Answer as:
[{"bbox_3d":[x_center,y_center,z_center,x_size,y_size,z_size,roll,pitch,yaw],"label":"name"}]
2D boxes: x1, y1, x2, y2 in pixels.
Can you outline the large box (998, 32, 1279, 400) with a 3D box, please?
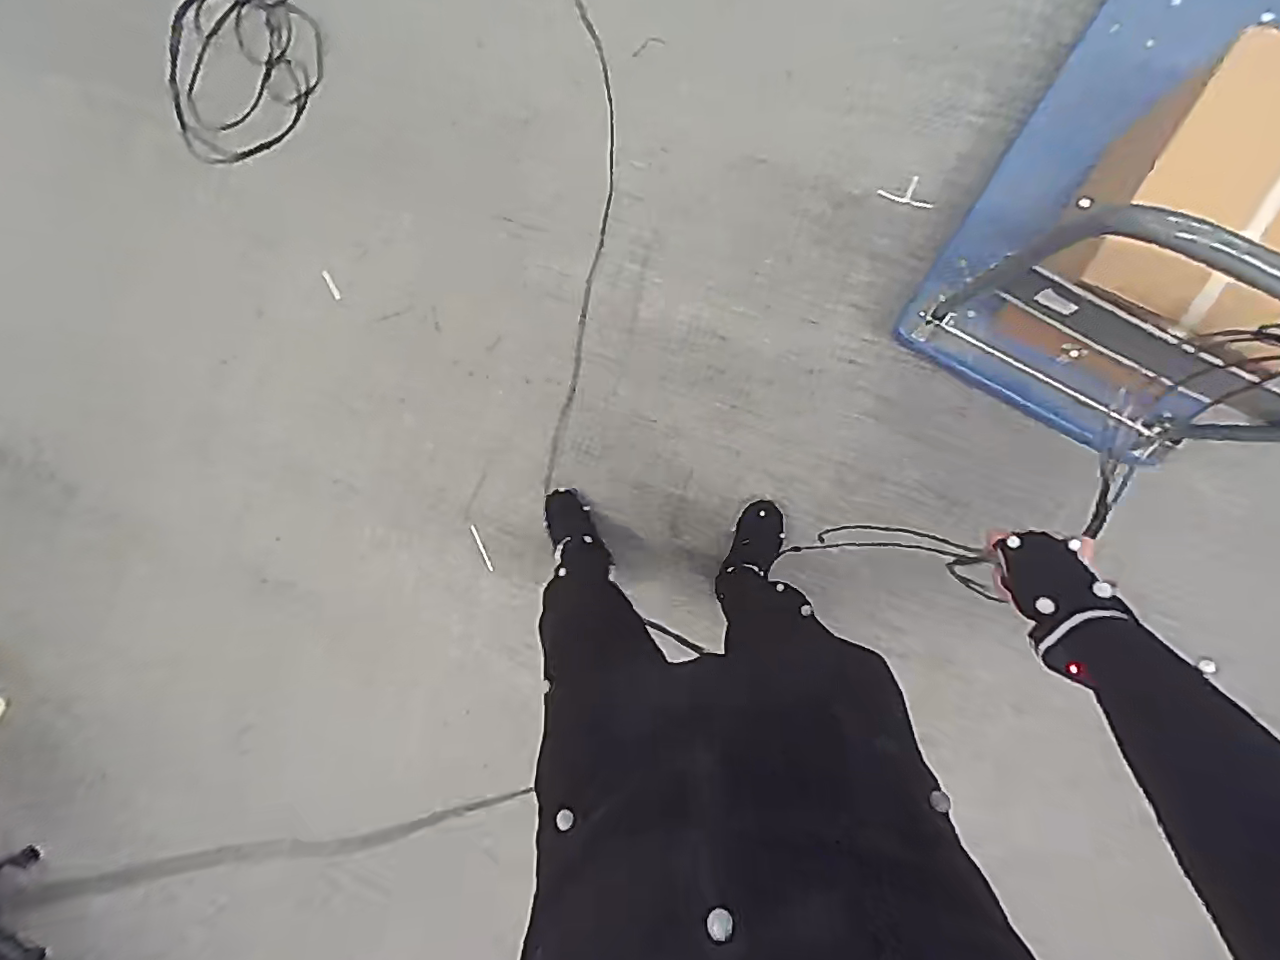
[{"bbox_3d":[0.918,-0.393,0.911,0.320,0.320,0.408,31,98,8],"label":"large box"}]
